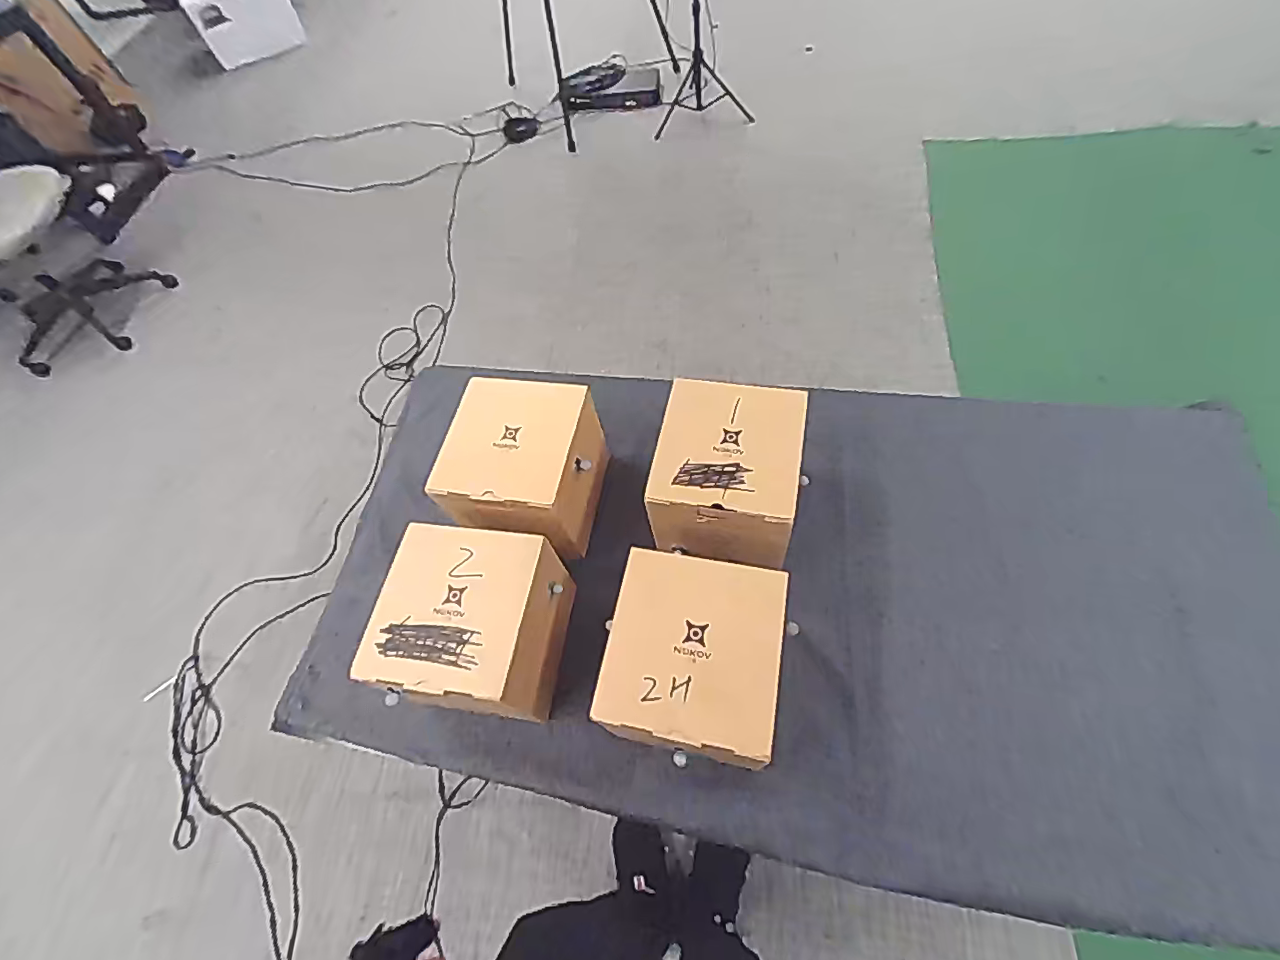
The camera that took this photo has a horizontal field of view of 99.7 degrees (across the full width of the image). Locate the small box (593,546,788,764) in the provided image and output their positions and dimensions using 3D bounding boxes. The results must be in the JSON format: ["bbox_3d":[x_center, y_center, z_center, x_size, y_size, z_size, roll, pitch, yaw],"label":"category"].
[{"bbox_3d":[0.060,0.194,0.590,0.168,0.176,0.179,8,62,12],"label":"small box"}]
